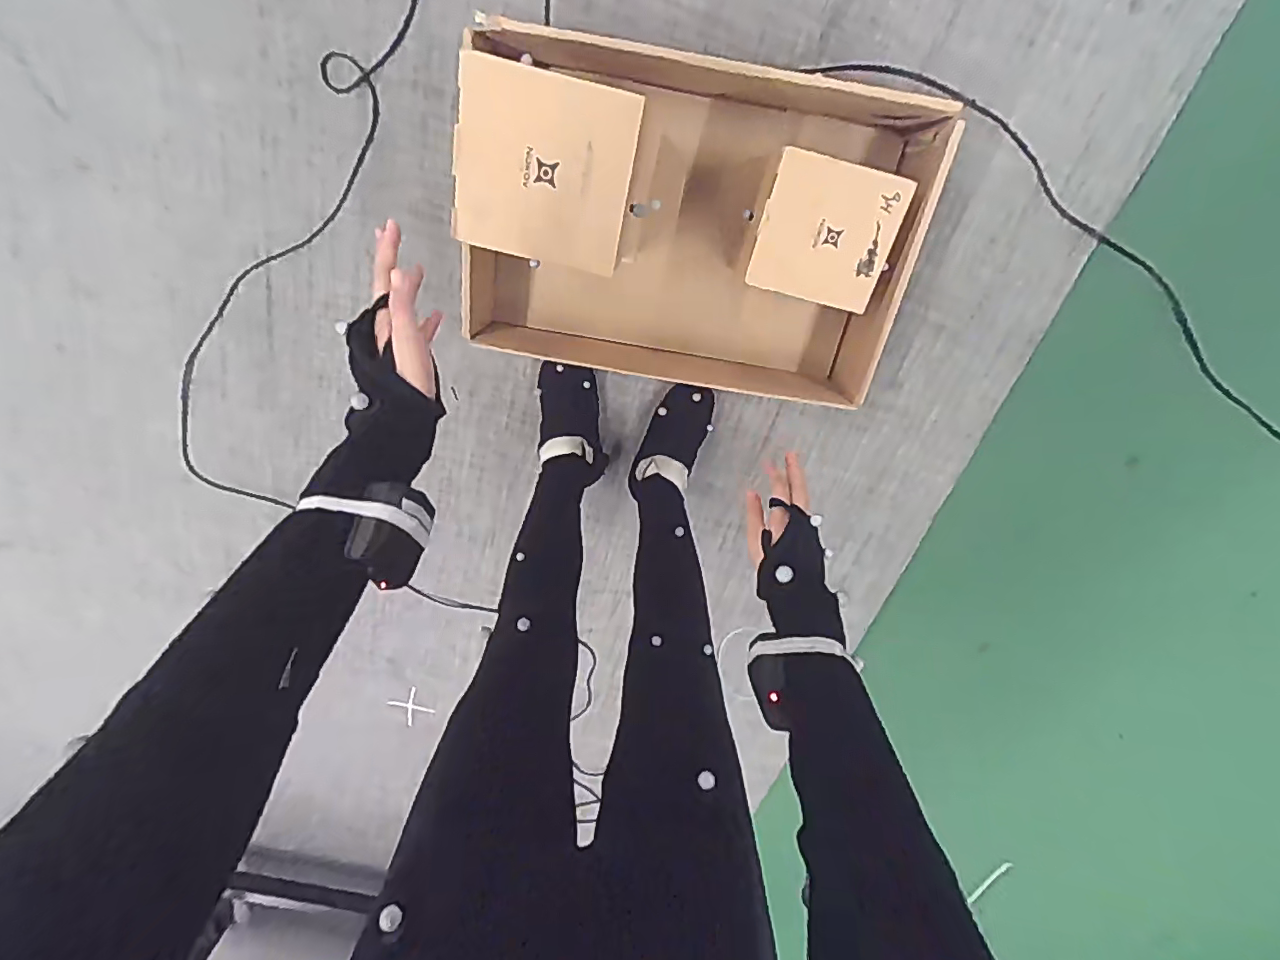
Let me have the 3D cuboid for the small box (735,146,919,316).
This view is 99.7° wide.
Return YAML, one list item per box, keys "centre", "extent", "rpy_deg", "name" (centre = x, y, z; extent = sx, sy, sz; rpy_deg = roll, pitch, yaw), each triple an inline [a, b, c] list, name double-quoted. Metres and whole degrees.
- centre: [0.246, -0.349, 0.768]
  extent: [0.179, 0.176, 0.168]
  rpy_deg: [15, 116, -4]
  name: "small box"

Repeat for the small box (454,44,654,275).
- centre: [-0.088, -0.343, 0.603]
  extent: [0.179, 0.176, 0.168]
  rpy_deg: [13, 118, -5]
  name: "small box"
